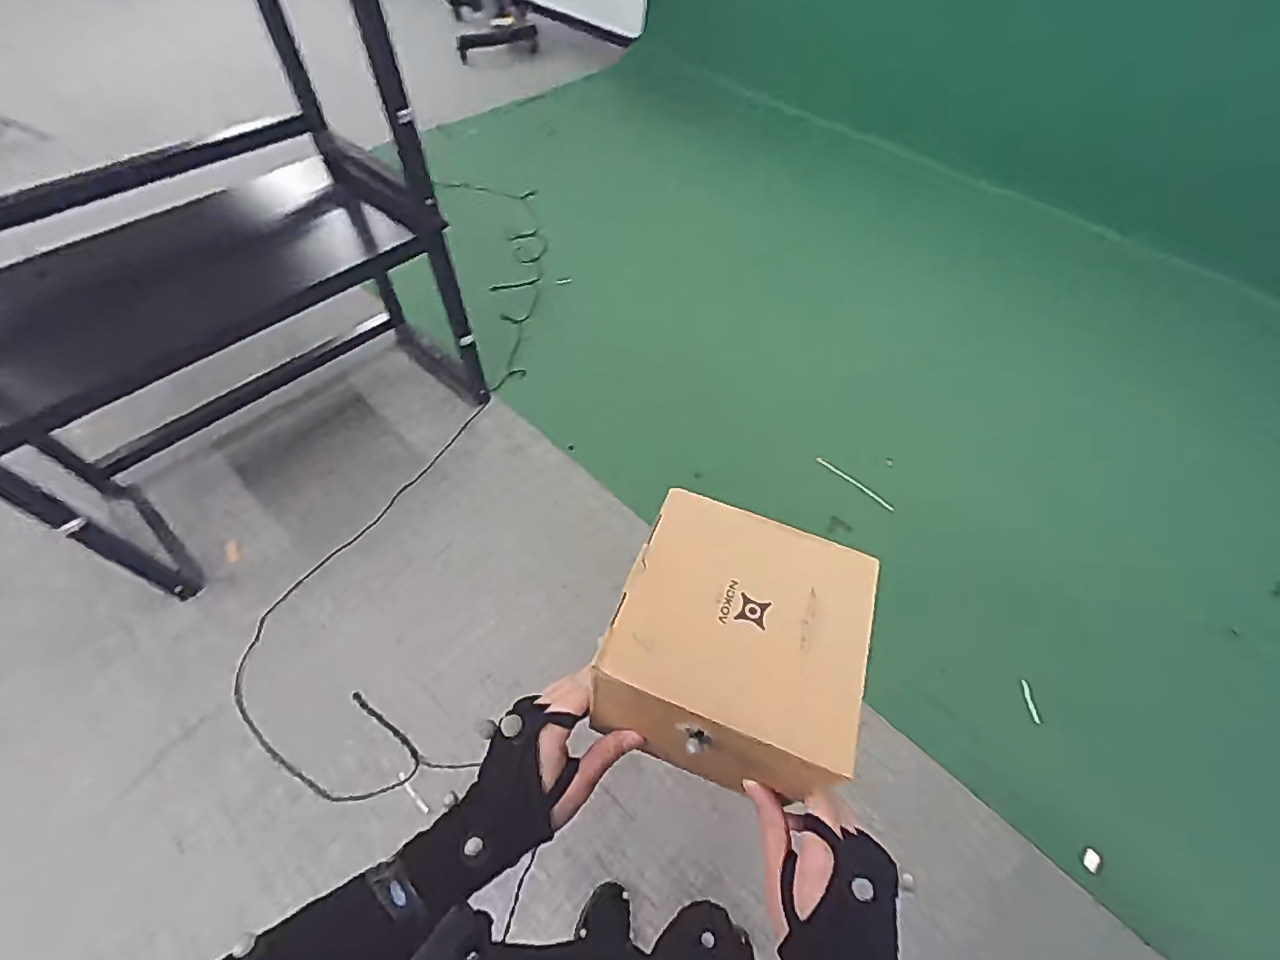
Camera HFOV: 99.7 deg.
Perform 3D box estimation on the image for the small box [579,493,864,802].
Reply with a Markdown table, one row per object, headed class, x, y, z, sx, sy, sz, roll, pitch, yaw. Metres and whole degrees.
| class | x | y | z | sx | sy | sz | roll | pitch | yaw |
| --- | --- | --- | --- | --- | --- | --- | --- | --- | --- |
| small box | 0.061 | 0.144 | 0.452 | 0.179 | 0.176 | 0.168 | 19 | 53 | 9 |
